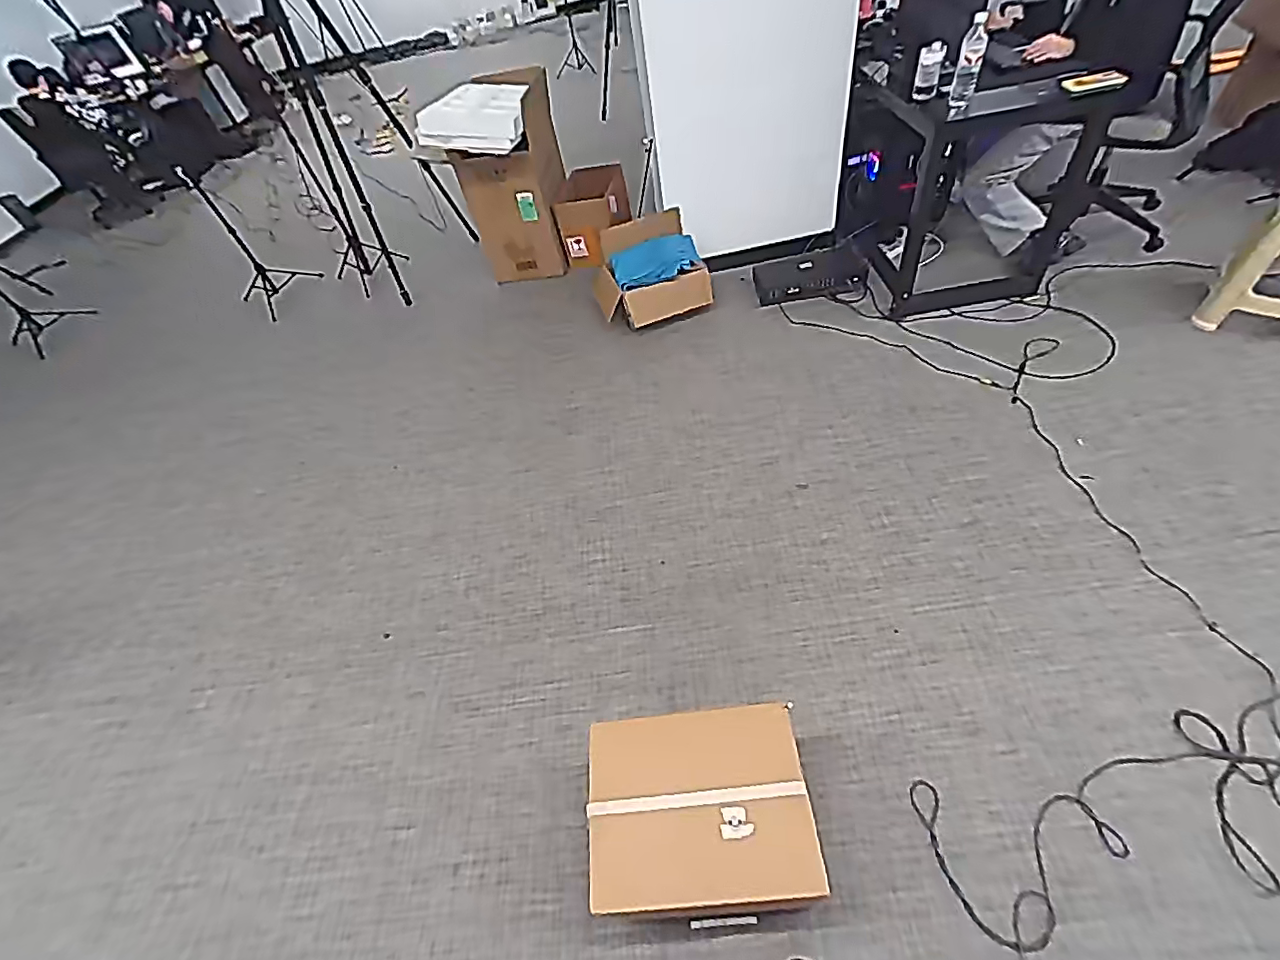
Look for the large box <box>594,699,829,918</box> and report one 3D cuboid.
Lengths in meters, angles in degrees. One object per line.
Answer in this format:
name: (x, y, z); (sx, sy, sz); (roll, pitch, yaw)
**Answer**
large box: (0.131, 0.683, 1.115); (0.408, 0.320, 0.320); (-8, 49, 4)
